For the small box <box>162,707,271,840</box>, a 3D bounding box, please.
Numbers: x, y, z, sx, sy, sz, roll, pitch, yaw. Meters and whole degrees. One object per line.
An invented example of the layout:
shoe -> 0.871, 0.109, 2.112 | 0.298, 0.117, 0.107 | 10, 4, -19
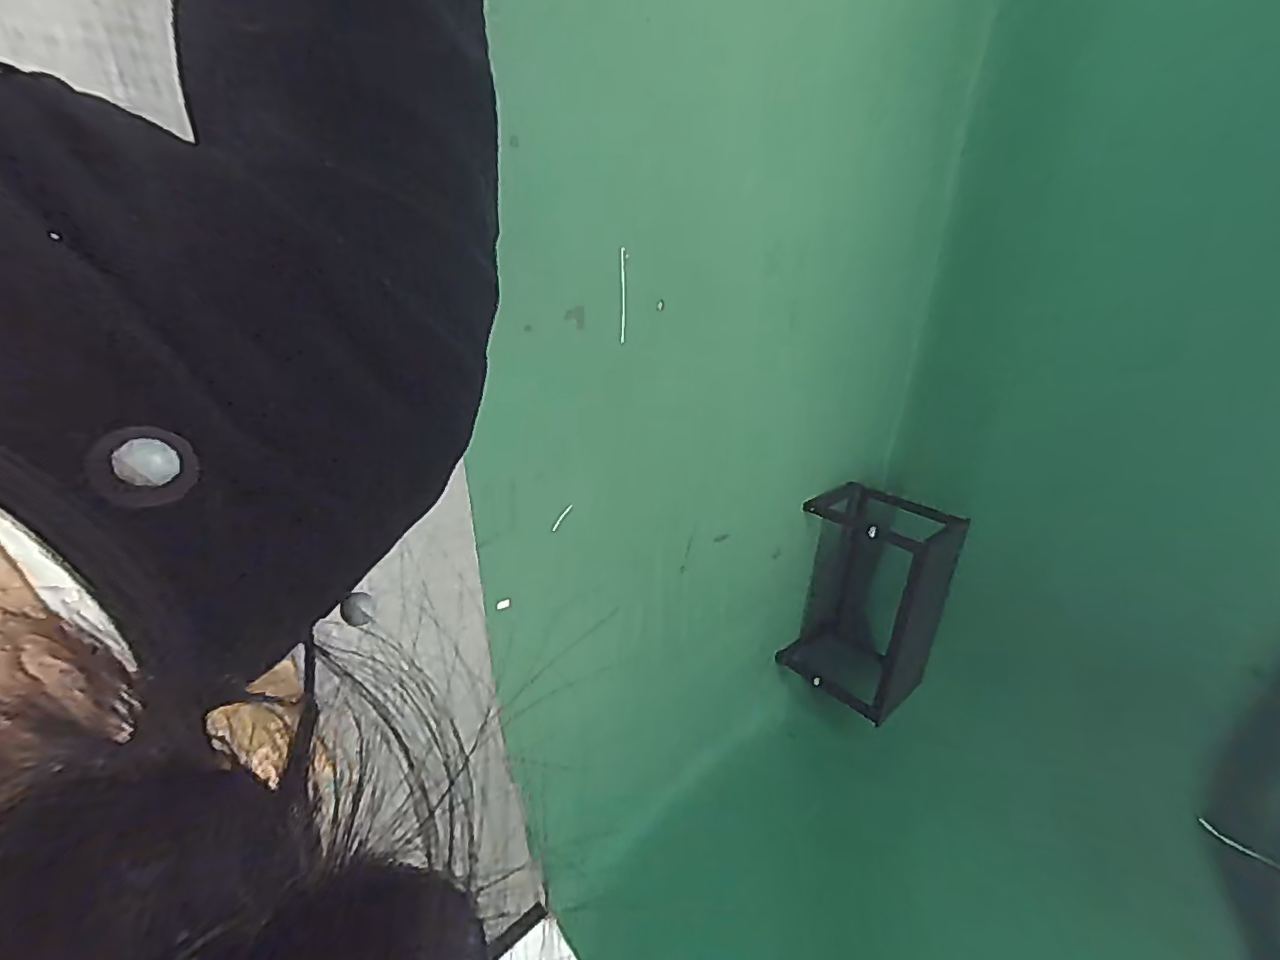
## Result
small box -> -0.956, 0.645, 1.220 | 0.168, 0.176, 0.179 | -11, 116, -40
